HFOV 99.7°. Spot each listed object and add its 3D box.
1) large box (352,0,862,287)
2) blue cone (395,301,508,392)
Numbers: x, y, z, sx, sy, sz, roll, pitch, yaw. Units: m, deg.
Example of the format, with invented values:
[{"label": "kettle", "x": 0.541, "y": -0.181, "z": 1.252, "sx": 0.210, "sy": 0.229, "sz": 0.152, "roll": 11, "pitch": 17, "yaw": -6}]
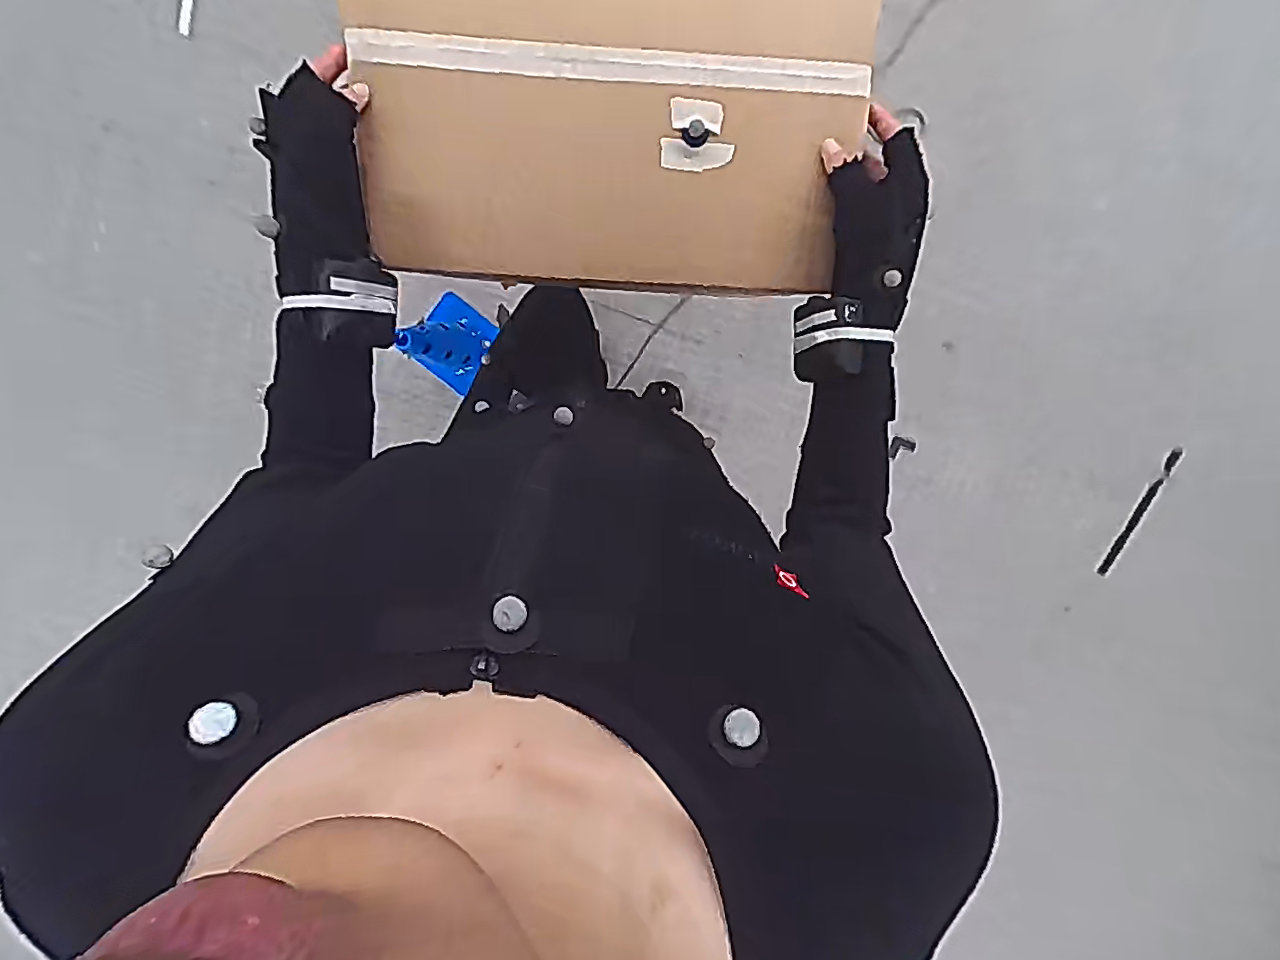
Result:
[{"label": "large box", "x": -0.031, "y": -0.378, "z": 0.574, "sx": 0.408, "sy": 0.320, "sz": 0.320, "roll": 1, "pitch": 108, "yaw": -3}, {"label": "blue cone", "x": -0.460, "y": -0.310, "z": 1.249, "sx": 0.193, "sy": 0.380, "sz": 0.192, "roll": 41, "pitch": 100, "yaw": -8}]
